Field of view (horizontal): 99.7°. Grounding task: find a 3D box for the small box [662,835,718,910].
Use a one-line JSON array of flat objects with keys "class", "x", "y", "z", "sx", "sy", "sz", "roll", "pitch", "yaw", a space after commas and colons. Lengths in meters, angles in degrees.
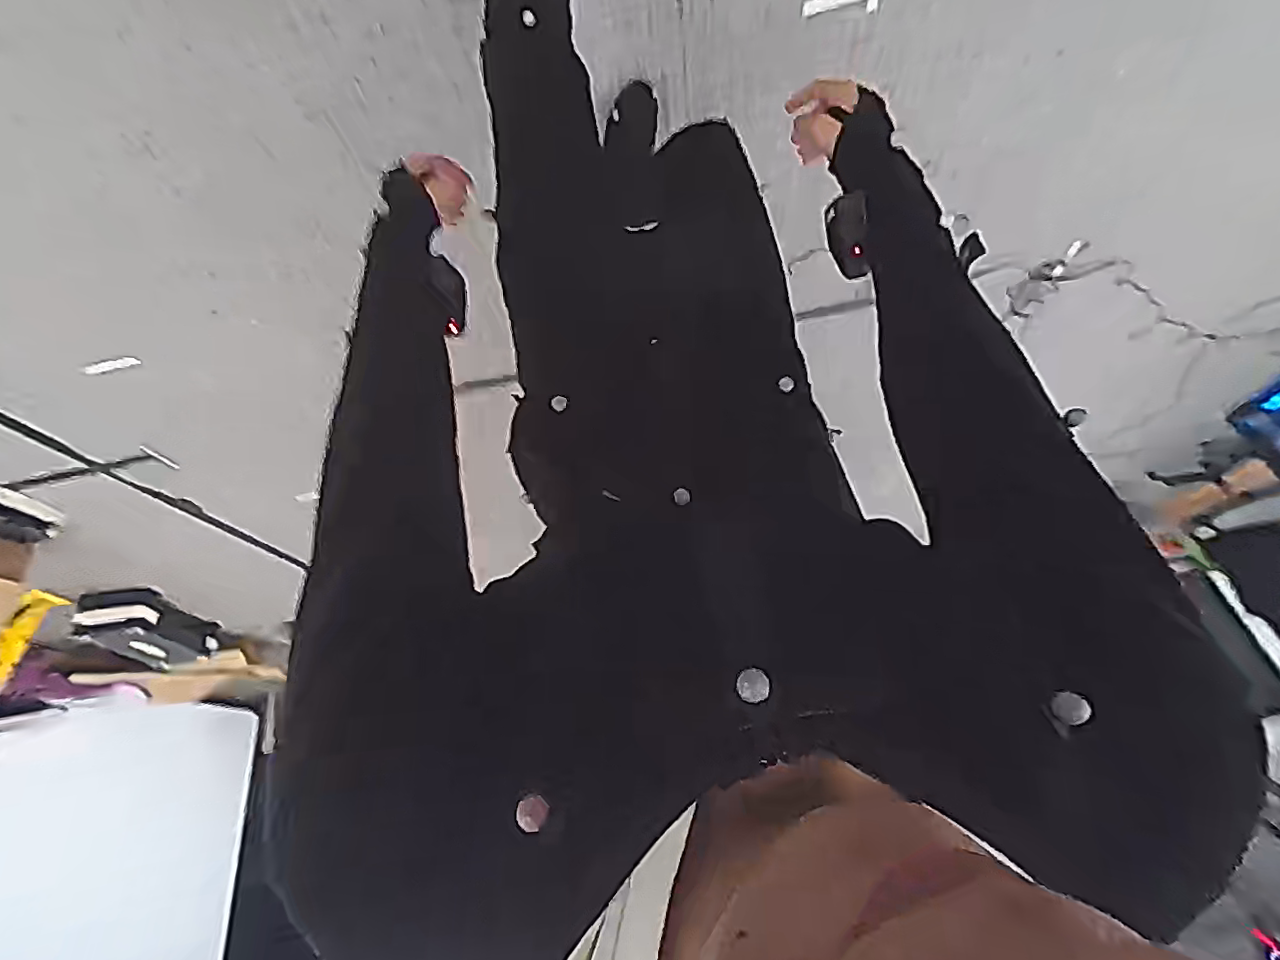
[{"class": "small box", "x": 0.177, "y": 1.411, "z": 1.952, "sx": 0.168, "sy": 0.176, "sz": 0.179, "roll": -12, "pitch": 155, "yaw": -2}]
